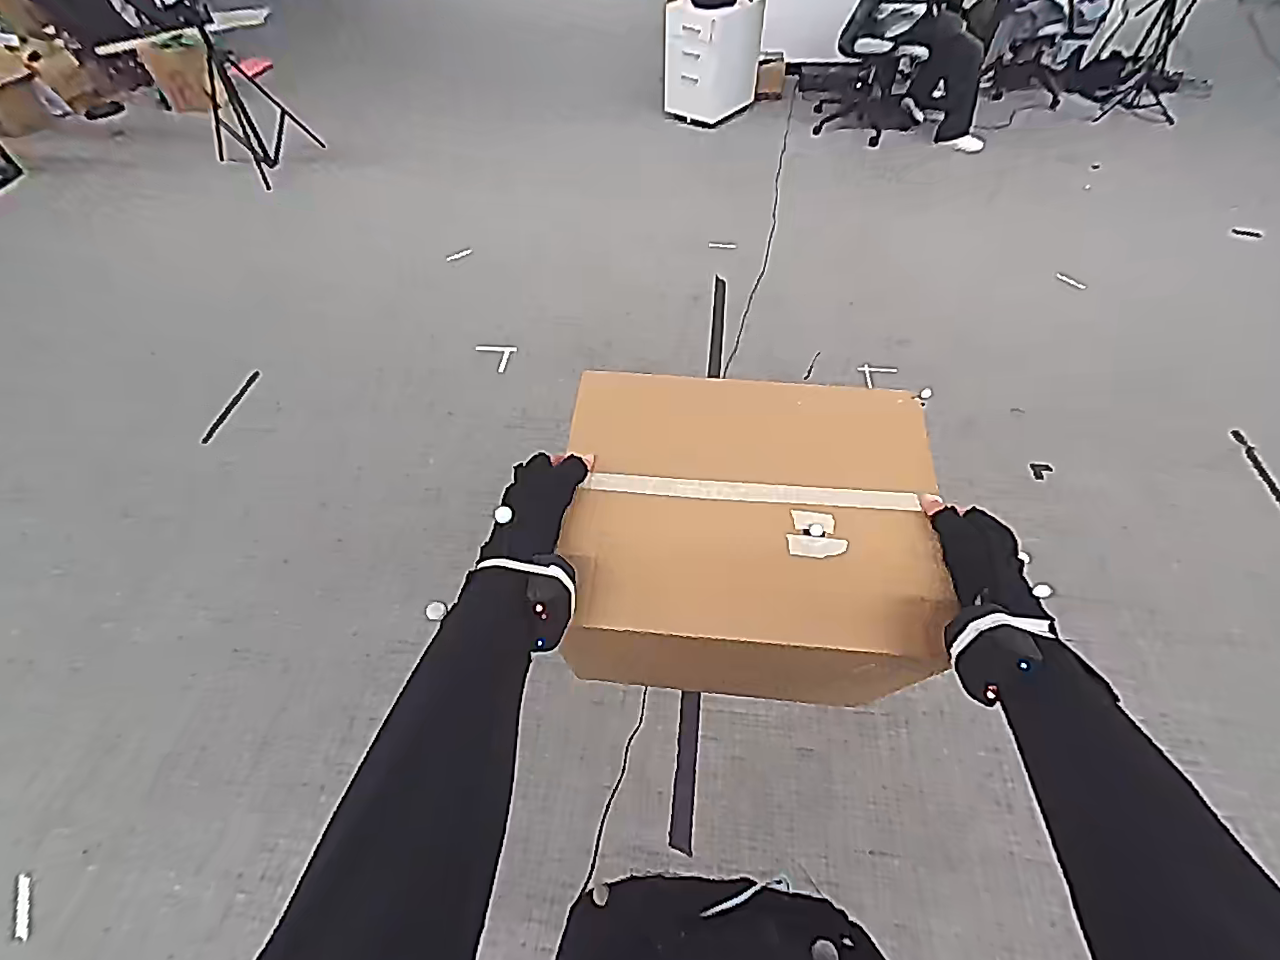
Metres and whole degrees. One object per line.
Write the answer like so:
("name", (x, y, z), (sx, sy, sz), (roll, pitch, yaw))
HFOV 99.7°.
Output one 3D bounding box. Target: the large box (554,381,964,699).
("large box", (0.124, 0.093, 0.721), (0.408, 0.320, 0.320), (4, 61, 4))
